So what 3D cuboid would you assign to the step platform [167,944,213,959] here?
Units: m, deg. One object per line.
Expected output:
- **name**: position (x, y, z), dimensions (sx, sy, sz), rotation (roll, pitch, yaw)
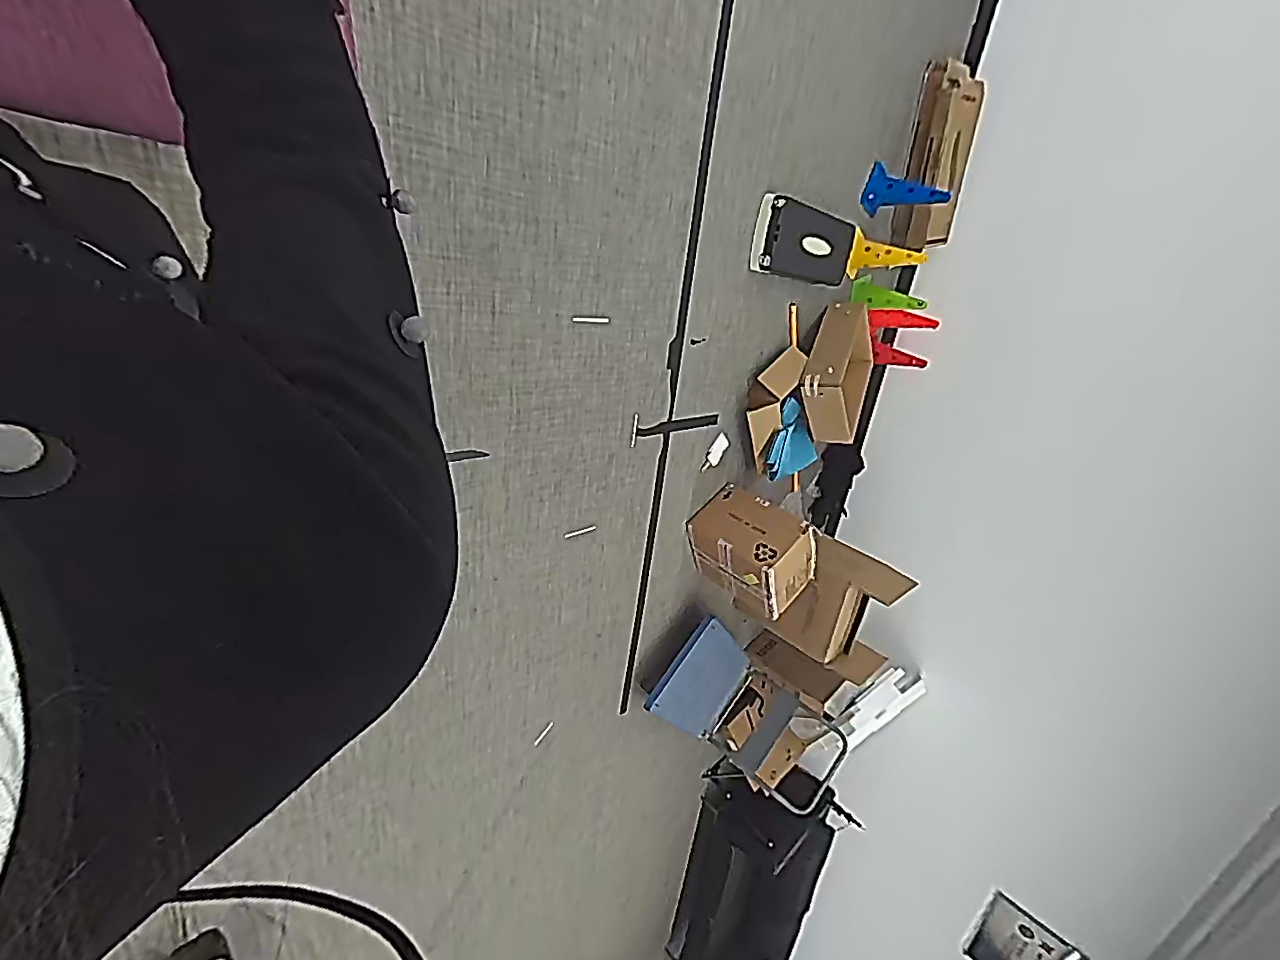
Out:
- **step platform**: position (-1.475, 1.569, 1.361), dimensions (0.684, 0.204, 0.286), rotation (-15, 123, -44)
